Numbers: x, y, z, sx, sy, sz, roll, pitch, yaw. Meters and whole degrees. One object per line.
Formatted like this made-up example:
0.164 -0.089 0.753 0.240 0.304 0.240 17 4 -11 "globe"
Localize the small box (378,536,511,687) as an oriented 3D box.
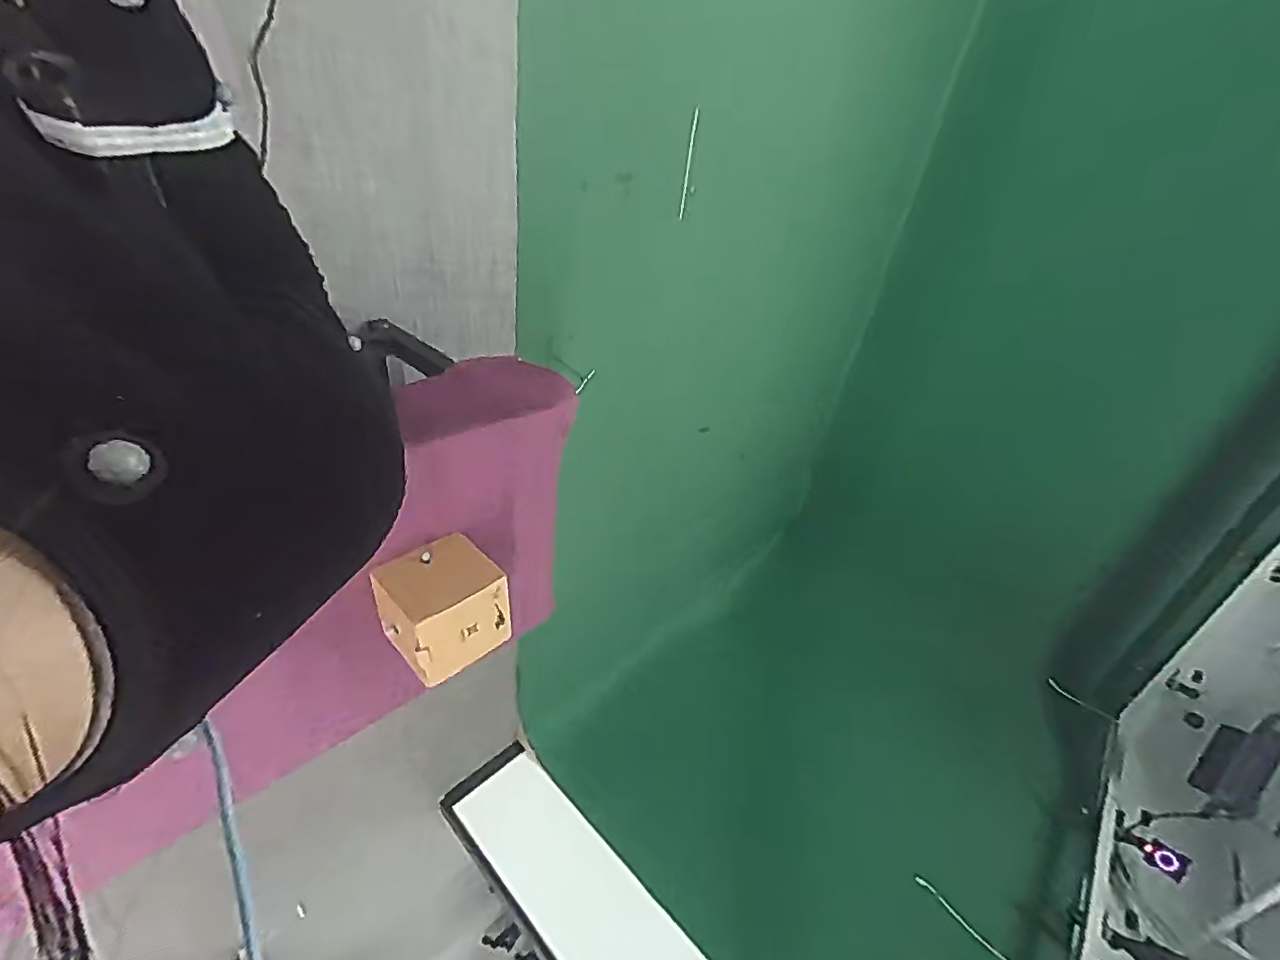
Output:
-0.361 0.233 0.999 0.179 0.176 0.168 -26 135 -39 "small box"
